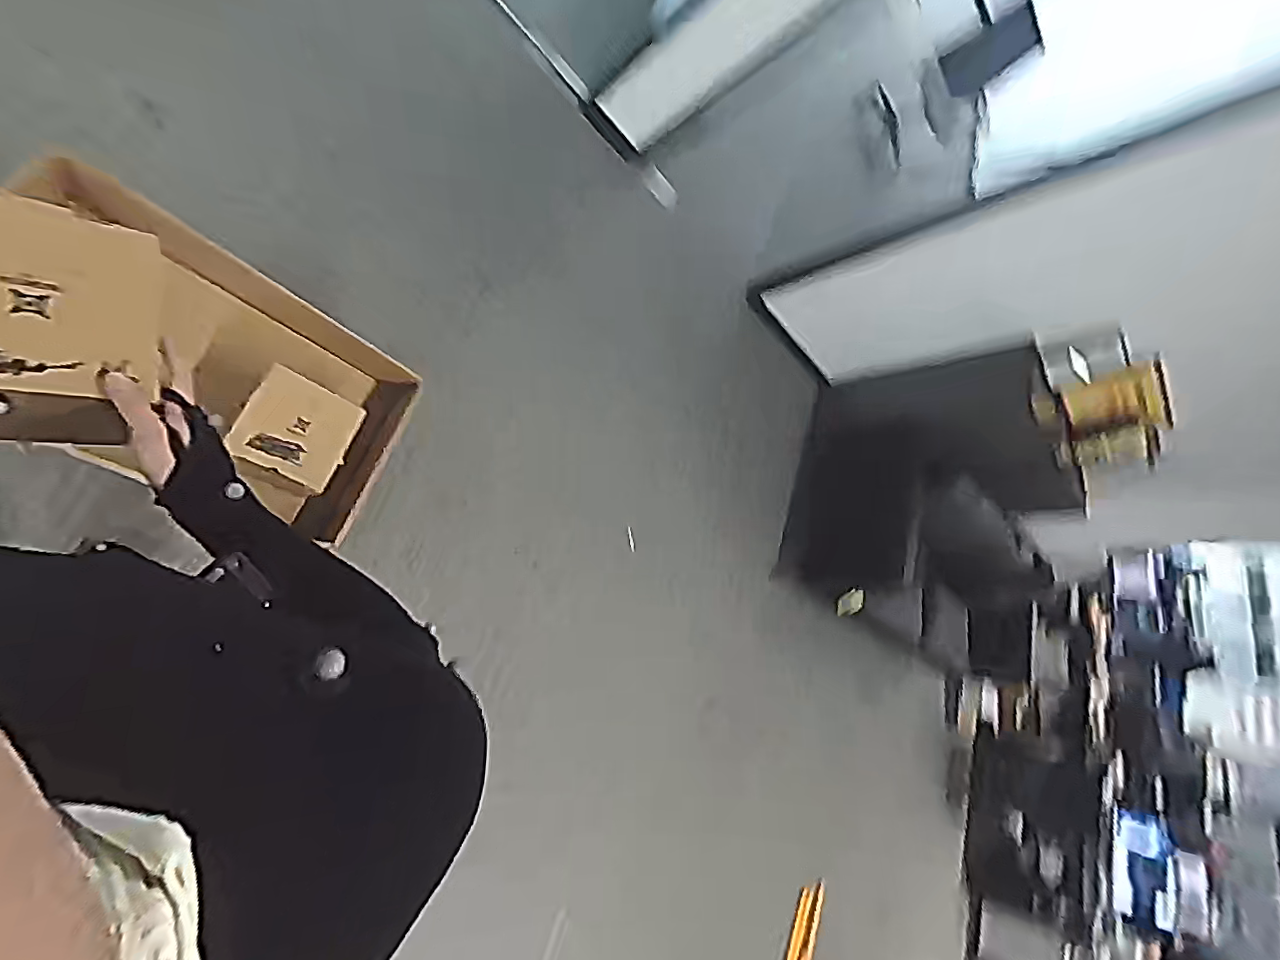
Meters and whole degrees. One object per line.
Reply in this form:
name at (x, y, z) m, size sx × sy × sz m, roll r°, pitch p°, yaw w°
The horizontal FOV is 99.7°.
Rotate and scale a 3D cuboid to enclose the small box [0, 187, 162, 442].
small box at (-0.575, -0.147, 0.511) m, size 0.168 × 0.176 × 0.179 m, roll 2°, pitch 77°, yaw -48°
